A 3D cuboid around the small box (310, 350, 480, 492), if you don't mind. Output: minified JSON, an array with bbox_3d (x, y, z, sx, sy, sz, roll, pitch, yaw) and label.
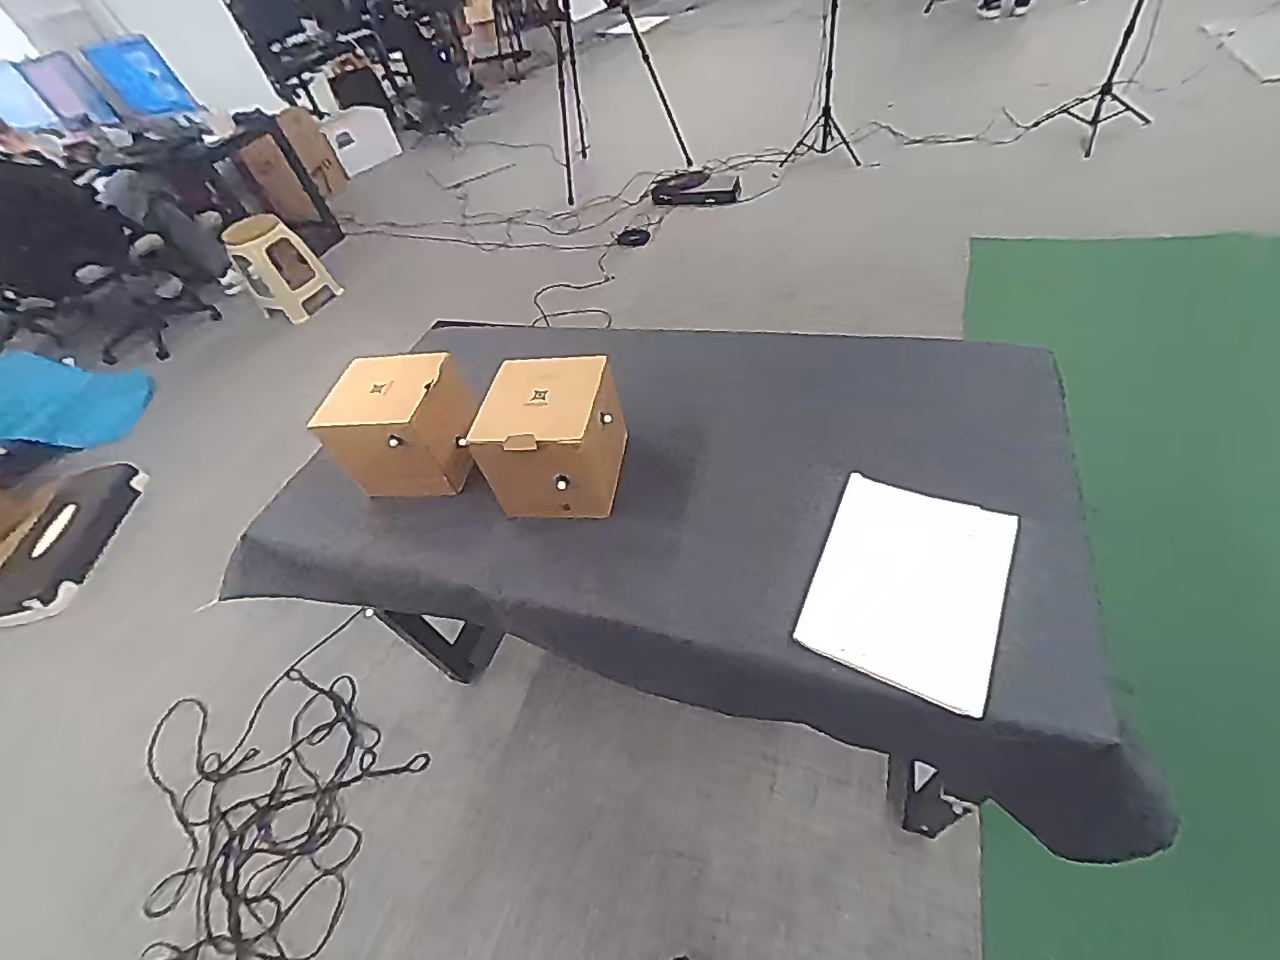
[{"bbox_3d":[-0.383,-0.093,0.891,0.179,0.176,0.168,-1,49,11],"label":"small box"}]

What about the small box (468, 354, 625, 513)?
[{"bbox_3d":[-0.124,-0.065,0.809,0.168,0.176,0.179,1,49,12],"label":"small box"}]
